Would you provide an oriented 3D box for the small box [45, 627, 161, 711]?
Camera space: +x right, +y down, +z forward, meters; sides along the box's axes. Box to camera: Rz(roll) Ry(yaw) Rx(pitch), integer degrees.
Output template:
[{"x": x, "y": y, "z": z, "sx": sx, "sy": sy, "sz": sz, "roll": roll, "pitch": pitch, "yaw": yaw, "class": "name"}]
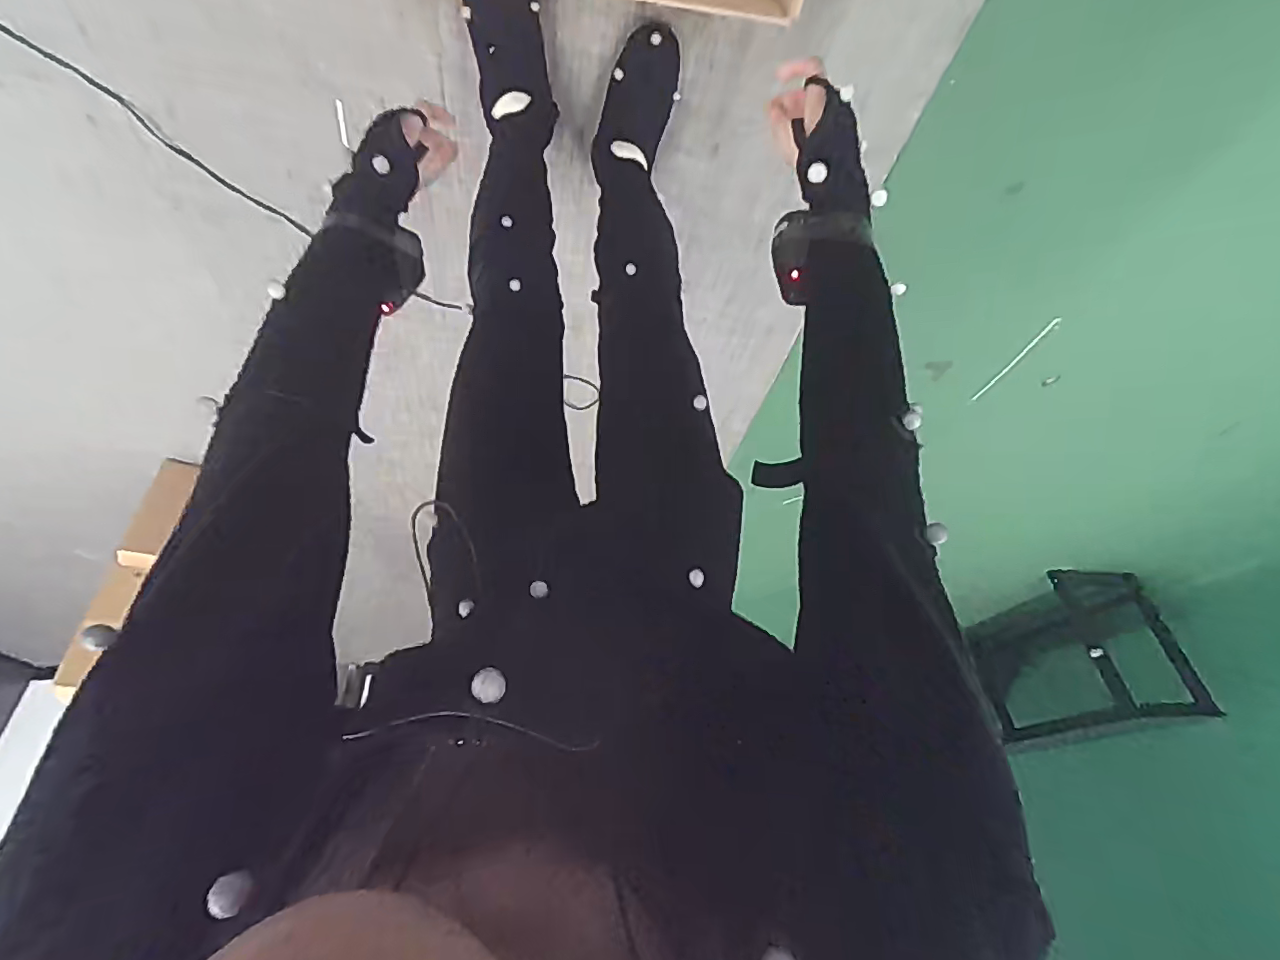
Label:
[{"x": -1.437, "y": 0.514, "z": 1.464, "sx": 0.168, "sy": 0.176, "sz": 0.179, "roll": 15, "pitch": 141, "yaw": -27, "class": "small box"}]
